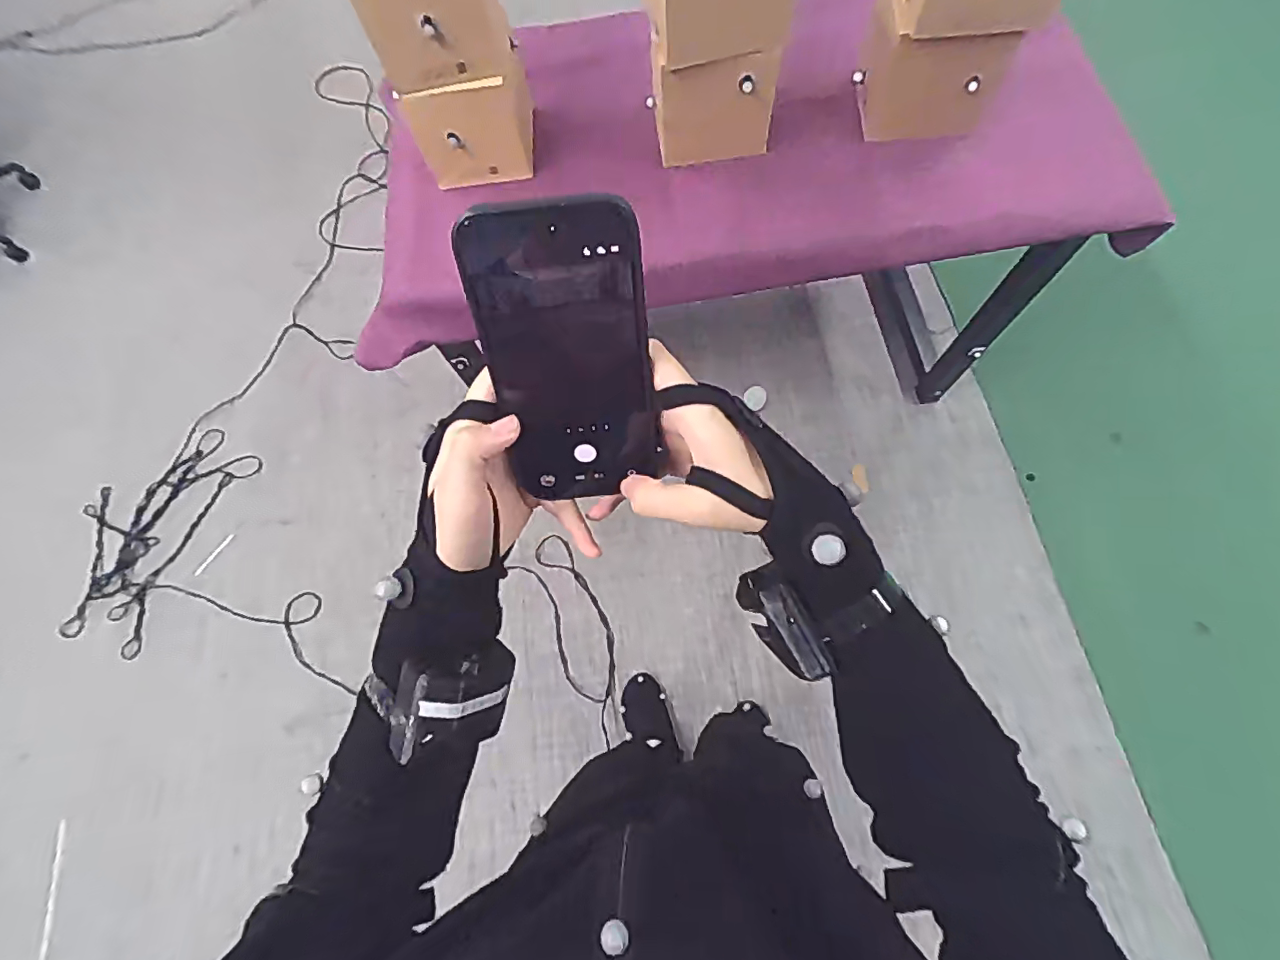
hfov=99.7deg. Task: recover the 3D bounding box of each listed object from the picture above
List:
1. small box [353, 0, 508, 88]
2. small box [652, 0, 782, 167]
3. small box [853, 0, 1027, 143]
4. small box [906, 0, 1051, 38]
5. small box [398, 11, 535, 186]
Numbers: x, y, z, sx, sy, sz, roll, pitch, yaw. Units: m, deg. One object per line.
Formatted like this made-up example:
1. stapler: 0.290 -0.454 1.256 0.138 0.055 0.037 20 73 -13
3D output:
1. small box: -0.289 -0.677 0.741 0.168 0.176 0.179 -10 71 1
2. small box: 0.115 -0.639 0.866 0.179 0.176 0.168 -6 70 3
3. small box: 0.454 -0.663 0.846 0.179 0.176 0.168 0 70 5
4. small box: 0.450 -0.704 0.687 0.179 0.176 0.168 -1 70 4
5. small box: -0.274 -0.615 0.893 0.168 0.176 0.179 -6 70 3
